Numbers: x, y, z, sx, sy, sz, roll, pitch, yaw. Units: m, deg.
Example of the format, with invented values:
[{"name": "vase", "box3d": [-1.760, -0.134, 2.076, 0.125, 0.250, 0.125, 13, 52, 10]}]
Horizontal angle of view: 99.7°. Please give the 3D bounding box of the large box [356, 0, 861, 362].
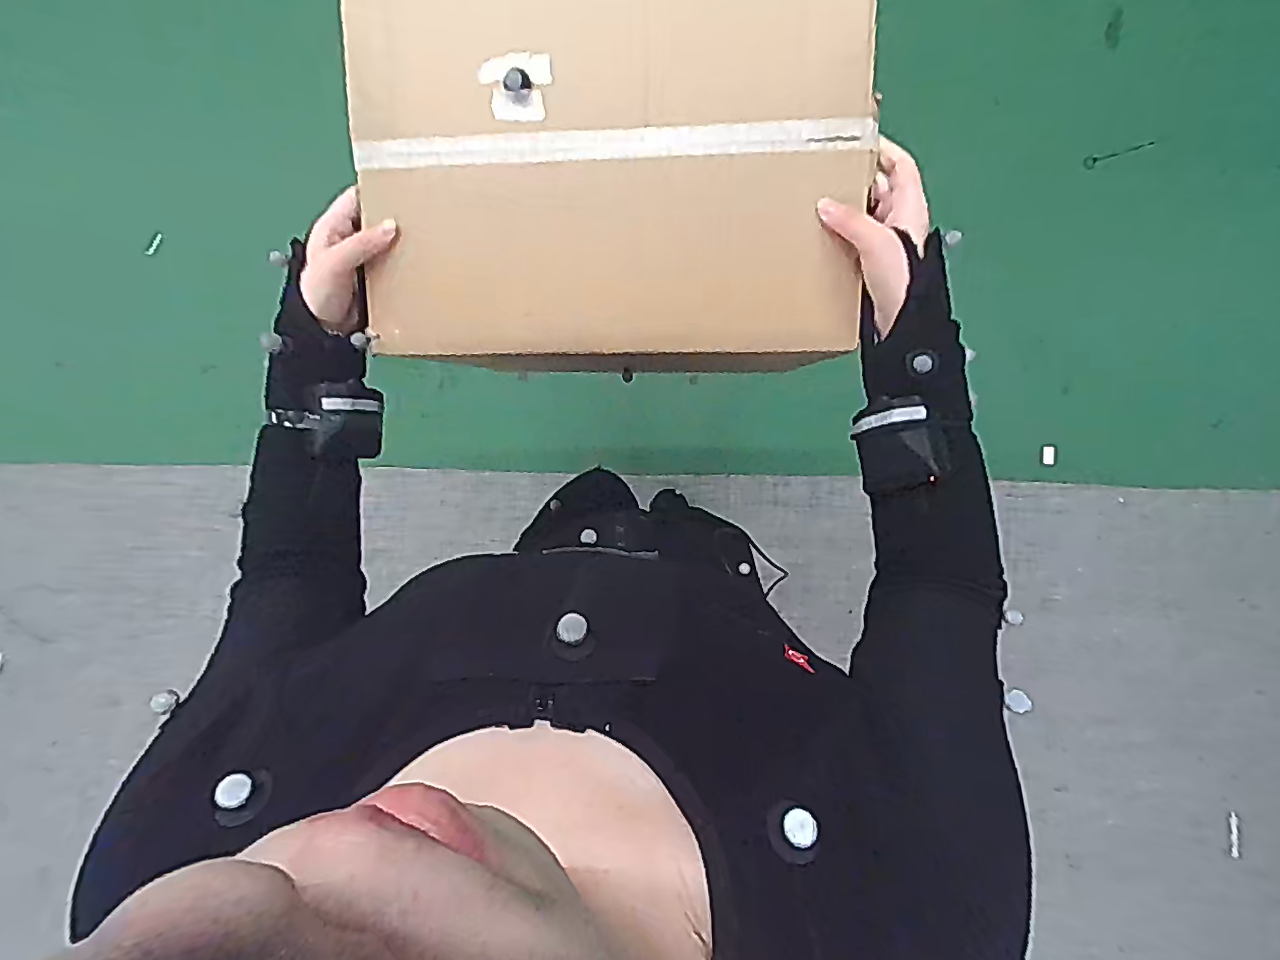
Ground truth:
[{"name": "large box", "box3d": [-0.013, -0.292, 0.582, 0.408, 0.320, 0.320, 1, 99, 6]}]
